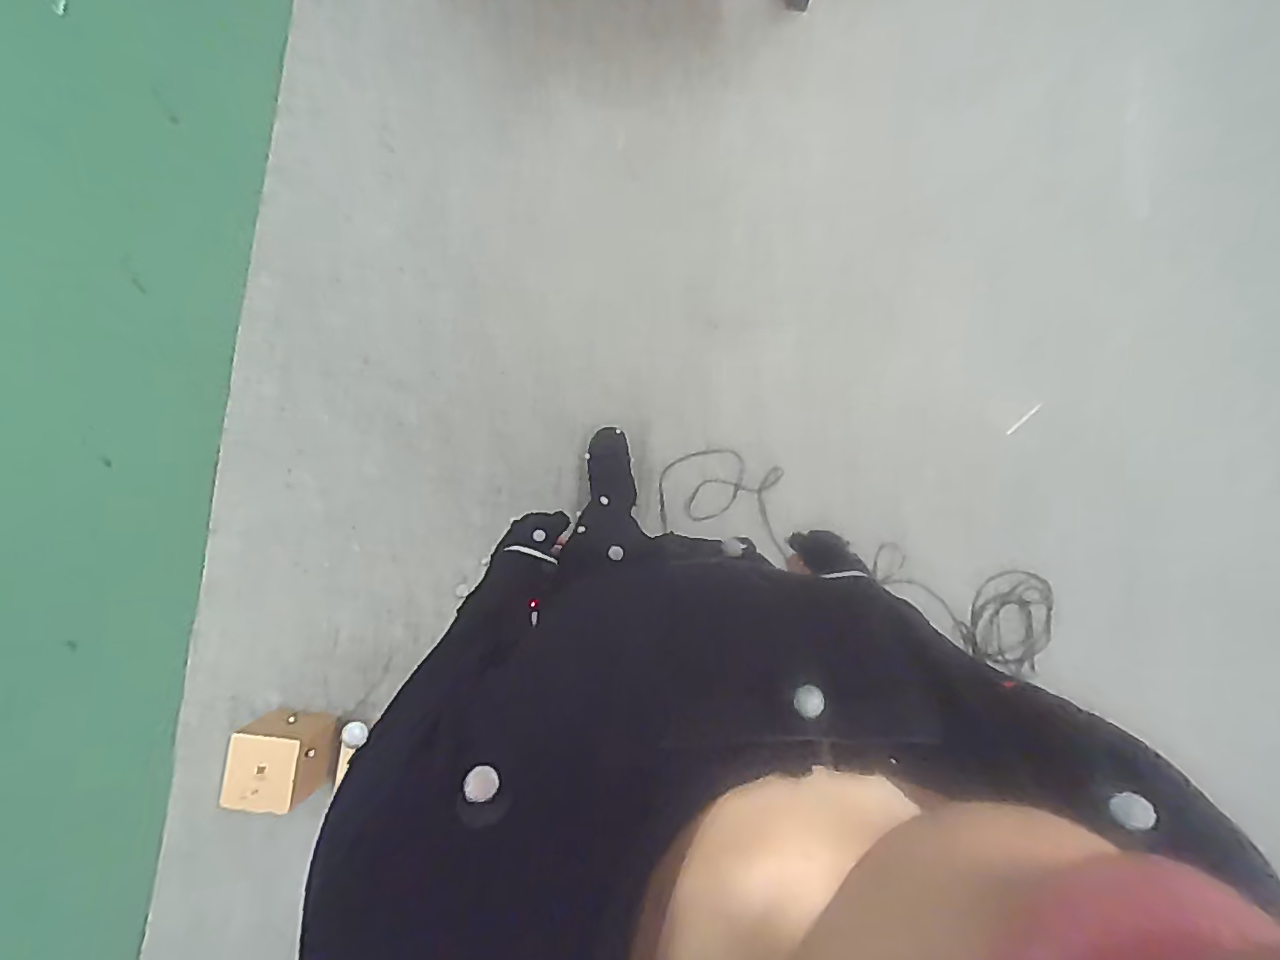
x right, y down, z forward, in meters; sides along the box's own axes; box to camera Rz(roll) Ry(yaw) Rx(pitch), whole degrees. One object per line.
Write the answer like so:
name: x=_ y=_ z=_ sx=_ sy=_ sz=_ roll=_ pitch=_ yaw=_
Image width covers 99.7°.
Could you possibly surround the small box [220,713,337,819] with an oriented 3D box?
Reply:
small box: x=-0.889 y=0.702 z=1.346 sx=0.168 sy=0.176 sz=0.179 roll=7 pitch=86 yaw=1
